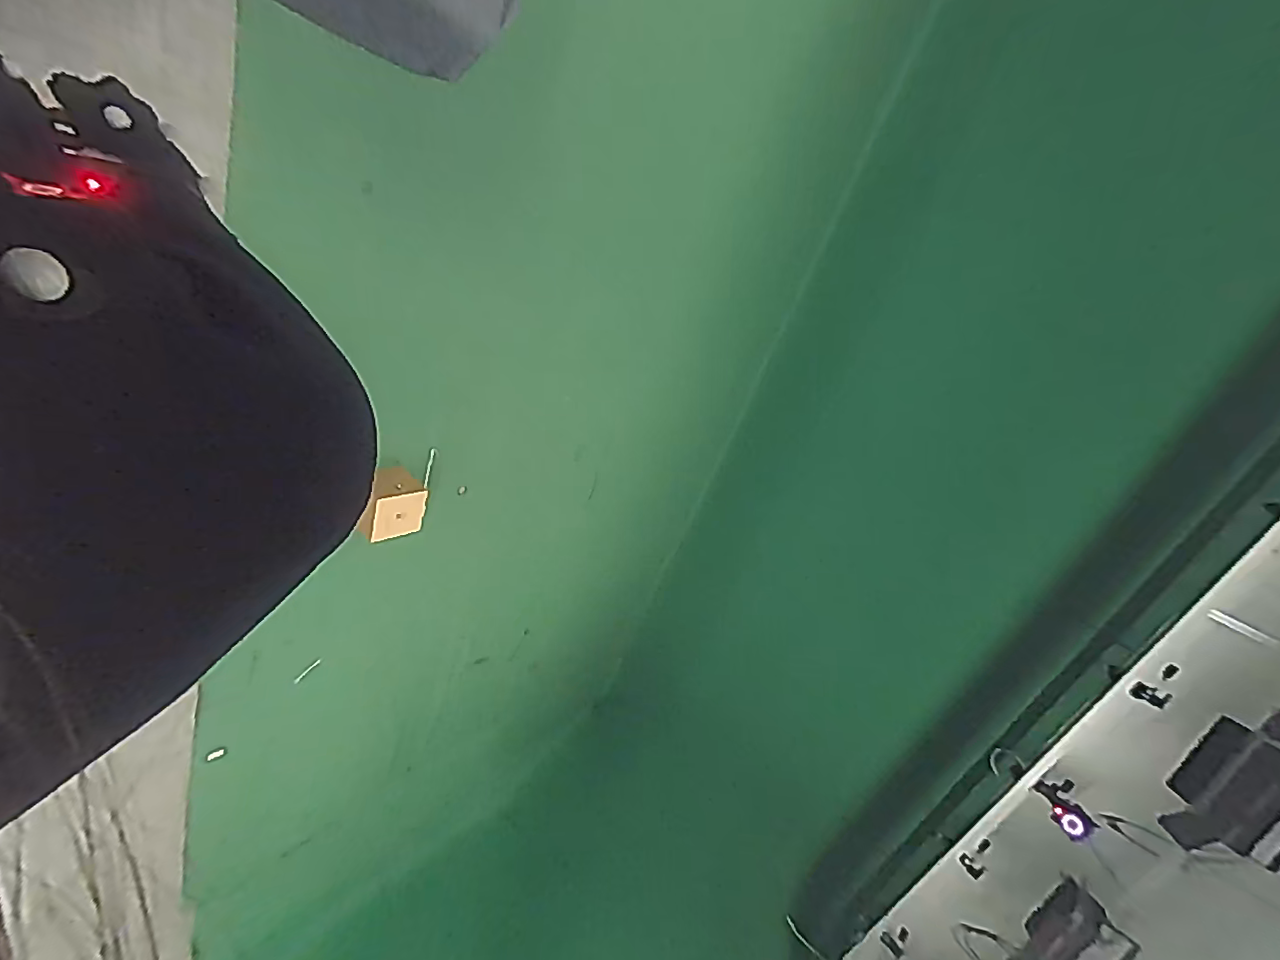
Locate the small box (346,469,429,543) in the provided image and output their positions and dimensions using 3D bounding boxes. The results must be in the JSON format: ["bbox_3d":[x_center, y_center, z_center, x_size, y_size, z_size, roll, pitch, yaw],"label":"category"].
[{"bbox_3d":[-0.830,0.076,1.775,0.179,0.176,0.168,-15,132,-52],"label":"small box"}]
